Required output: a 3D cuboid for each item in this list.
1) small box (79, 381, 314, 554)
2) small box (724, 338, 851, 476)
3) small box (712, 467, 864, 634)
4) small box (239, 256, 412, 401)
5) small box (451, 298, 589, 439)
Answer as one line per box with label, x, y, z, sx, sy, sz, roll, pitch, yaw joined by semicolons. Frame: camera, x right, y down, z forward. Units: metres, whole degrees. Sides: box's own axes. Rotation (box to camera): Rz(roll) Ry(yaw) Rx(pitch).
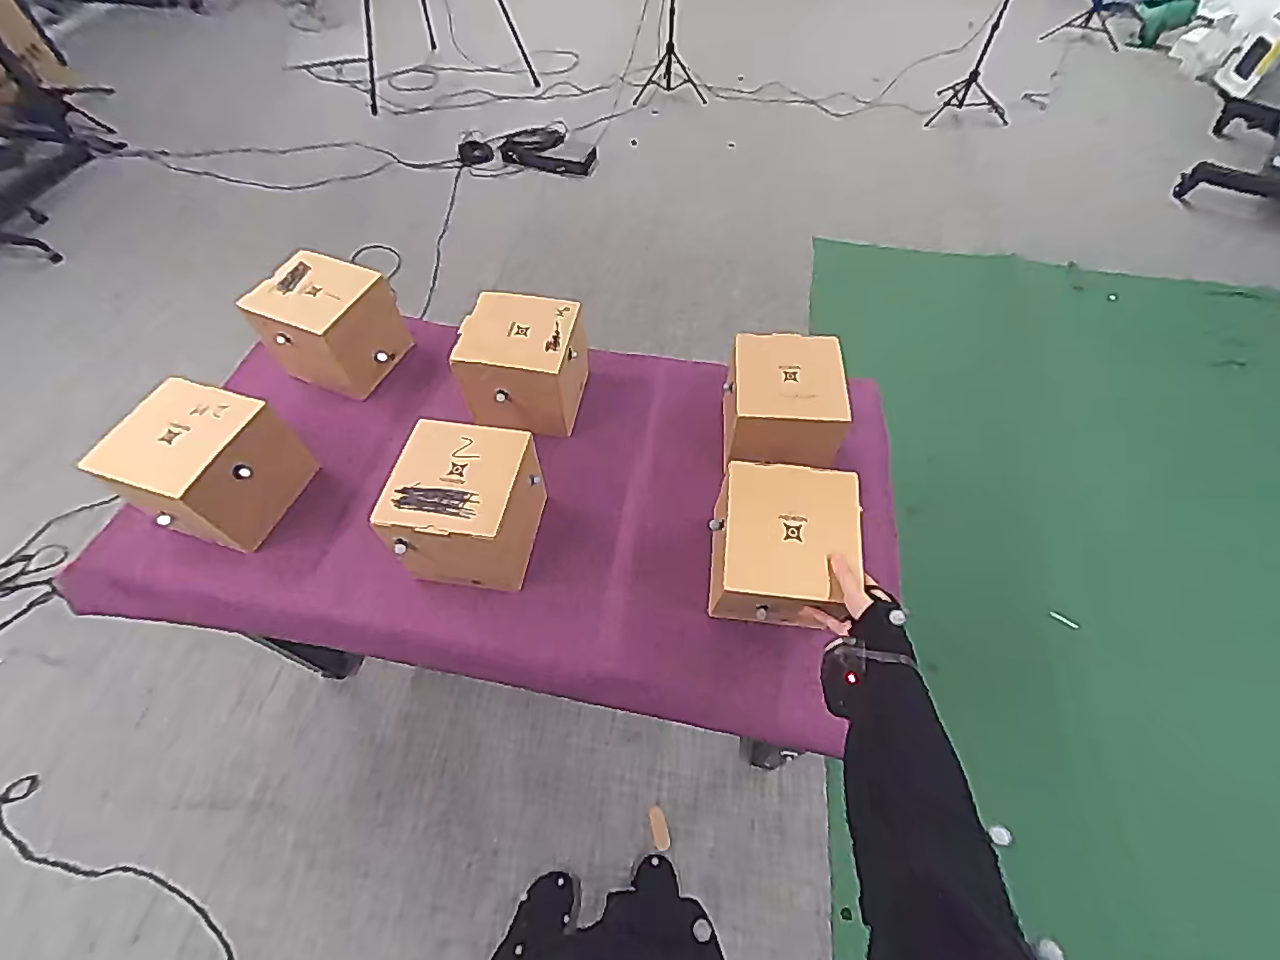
small box;-0.635;-0.013;0.806;0.168;0.176;0.179;15;57;8
small box;0.229;-0.107;0.889;0.168;0.176;0.179;4;58;3
small box;0.191;0.103;0.733;0.168;0.176;0.179;6;64;4
small box;-0.553;-0.269;0.979;0.179;0.176;0.168;20;59;10
small box;-0.194;-0.187;0.934;0.179;0.176;0.168;8;58;5
